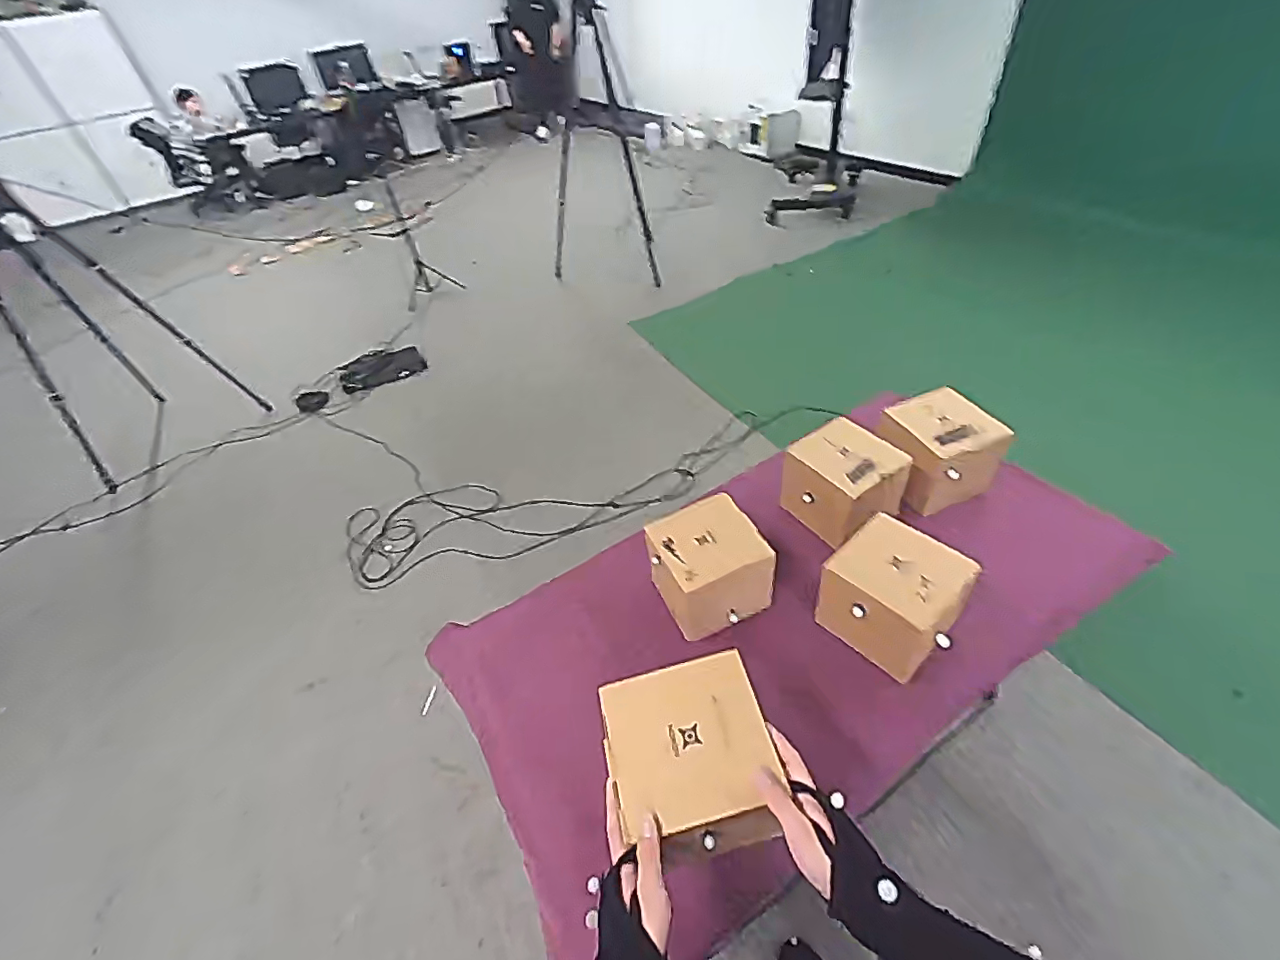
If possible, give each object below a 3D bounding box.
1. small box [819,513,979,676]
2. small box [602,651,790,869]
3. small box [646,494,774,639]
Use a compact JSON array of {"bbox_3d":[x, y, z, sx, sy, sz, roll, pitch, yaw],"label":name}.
[{"bbox_3d":[0.425,0.194,0.918,0.168,0.176,0.179,-35,48,-23],"label":"small box"},{"bbox_3d":[0.065,0.334,0.642,0.179,0.176,0.168,-14,45,-2],"label":"small box"},{"bbox_3d":[0.125,0.161,1.004,0.179,0.176,0.168,-21,44,-12],"label":"small box"}]
